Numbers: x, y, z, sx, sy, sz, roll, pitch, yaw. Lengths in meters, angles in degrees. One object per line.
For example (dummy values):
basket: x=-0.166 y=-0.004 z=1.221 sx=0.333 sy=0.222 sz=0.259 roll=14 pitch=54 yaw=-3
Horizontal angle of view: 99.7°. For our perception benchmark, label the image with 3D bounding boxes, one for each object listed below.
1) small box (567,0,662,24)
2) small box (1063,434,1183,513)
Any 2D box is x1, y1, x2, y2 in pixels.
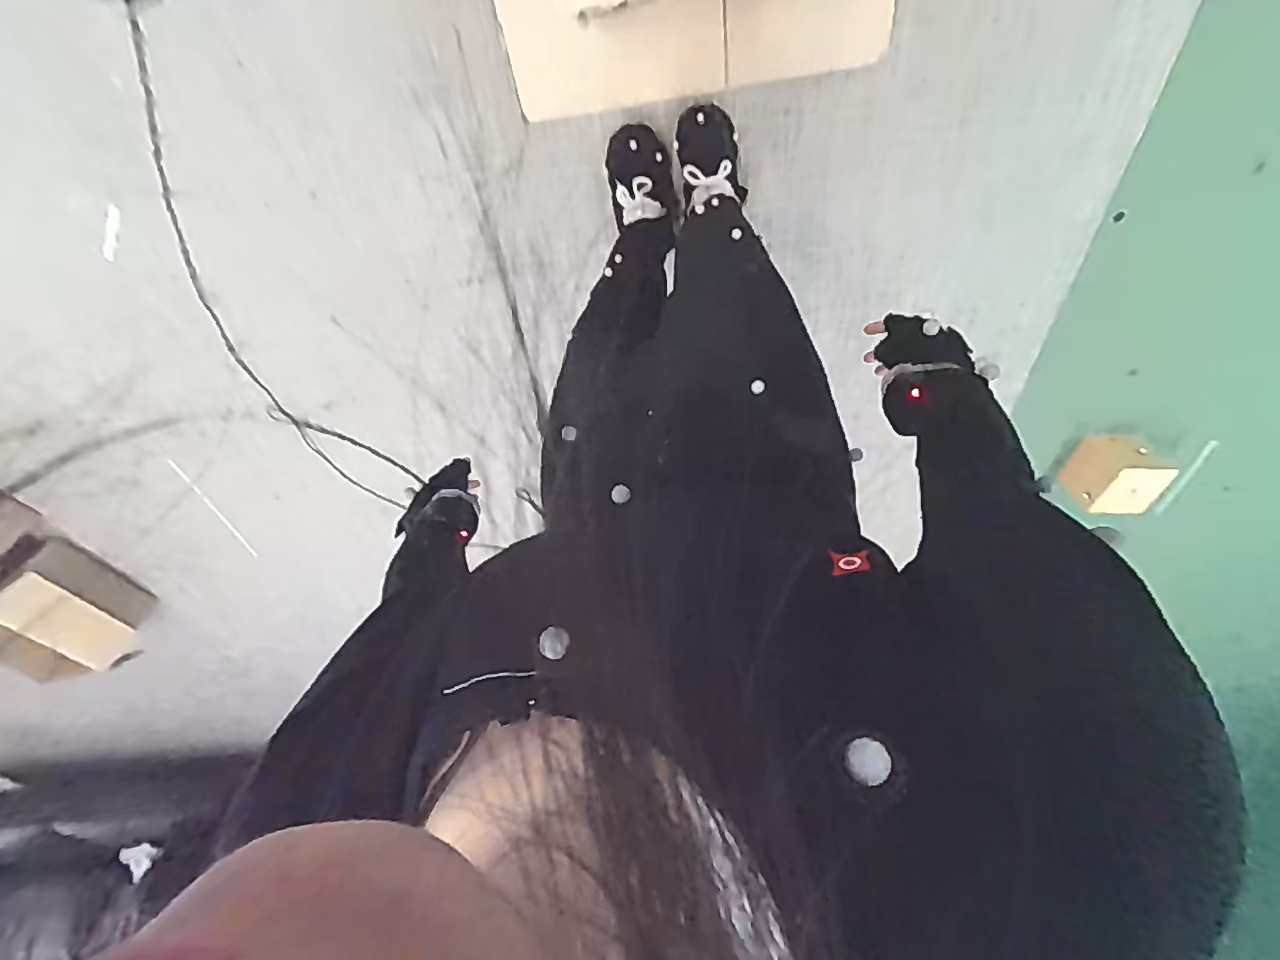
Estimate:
small box: x=-0.043 y=-0.840 z=0.834 sx=0.168 sy=0.176 sz=0.179 roll=-9 pitch=131 yaw=8
small box: x=1.413 y=-0.021 z=1.601 sx=0.168 sy=0.176 sz=0.179 roll=1 pitch=132 yaw=-2
